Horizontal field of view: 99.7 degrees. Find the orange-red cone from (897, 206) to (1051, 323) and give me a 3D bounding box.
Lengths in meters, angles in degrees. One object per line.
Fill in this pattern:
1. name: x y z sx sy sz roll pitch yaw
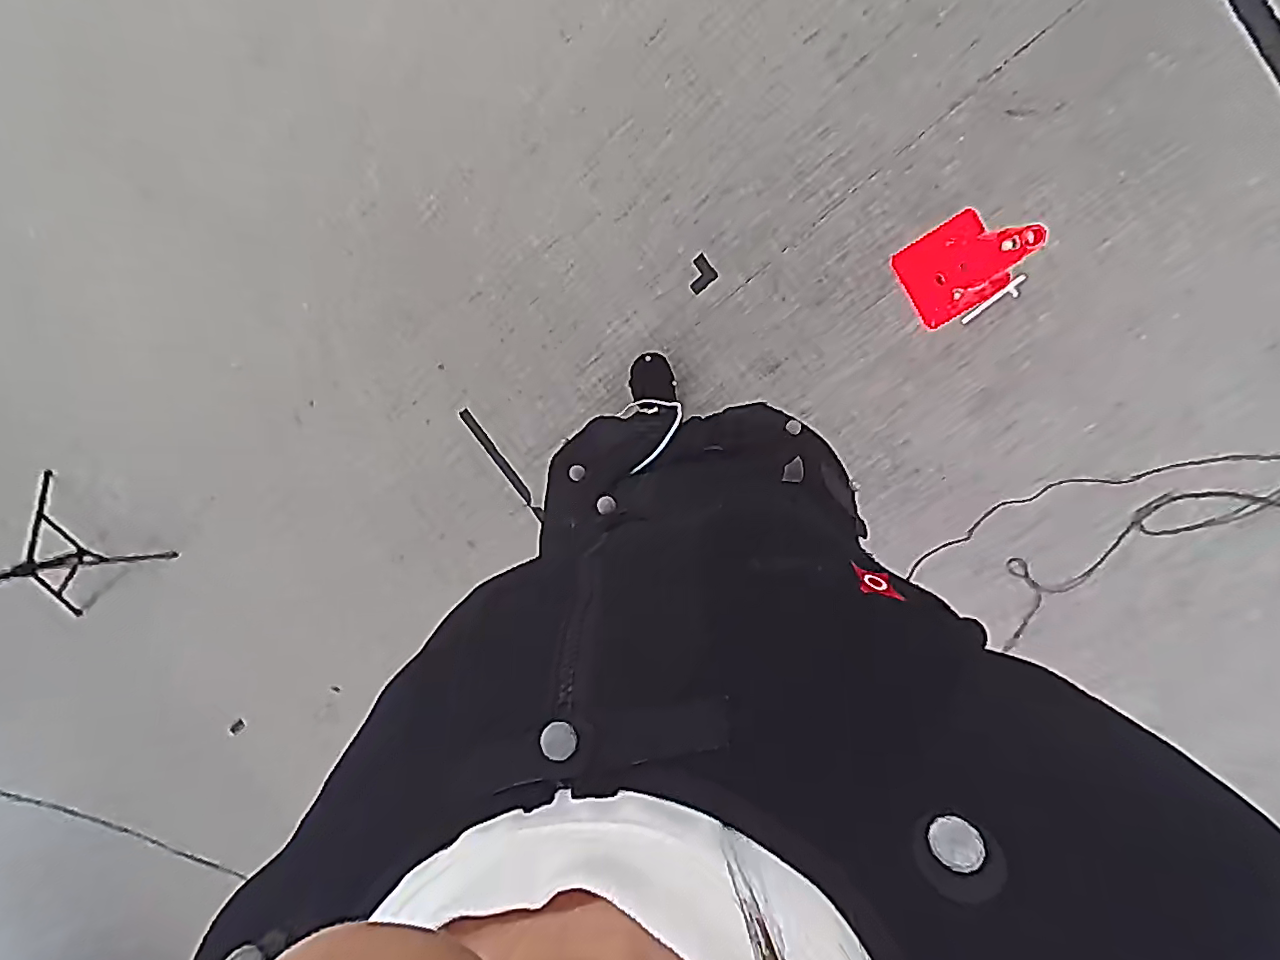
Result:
1. orange-red cone: 0.676 -0.447 1.048 0.198 0.360 0.199 -30 95 14
